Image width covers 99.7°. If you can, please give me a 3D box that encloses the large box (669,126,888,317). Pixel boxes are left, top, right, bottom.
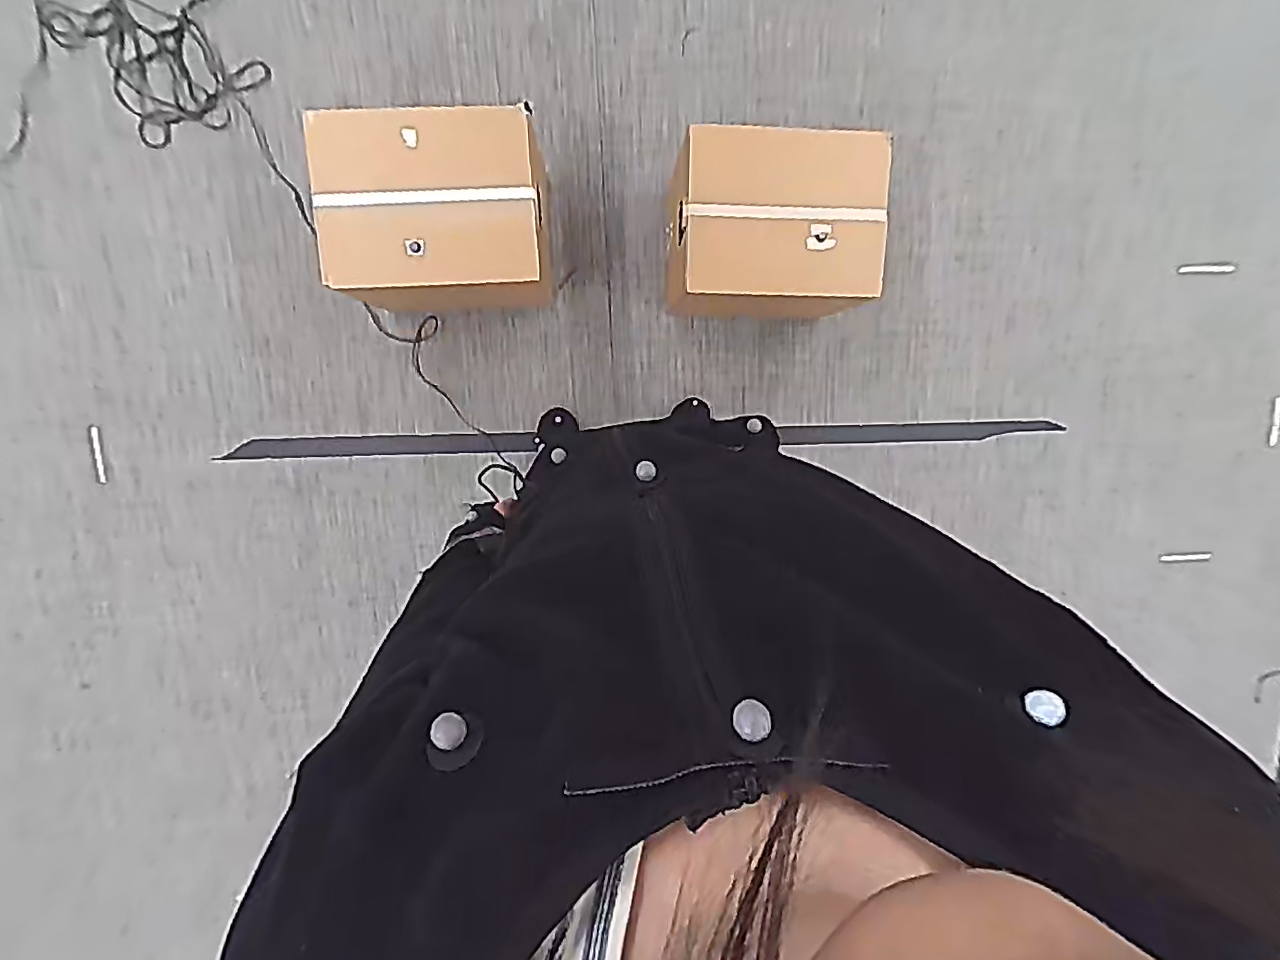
[{"bbox_3d":[0.281,-0.550,1.220,0.408,0.320,0.320,0,99,-5],"label":"large box"}]
